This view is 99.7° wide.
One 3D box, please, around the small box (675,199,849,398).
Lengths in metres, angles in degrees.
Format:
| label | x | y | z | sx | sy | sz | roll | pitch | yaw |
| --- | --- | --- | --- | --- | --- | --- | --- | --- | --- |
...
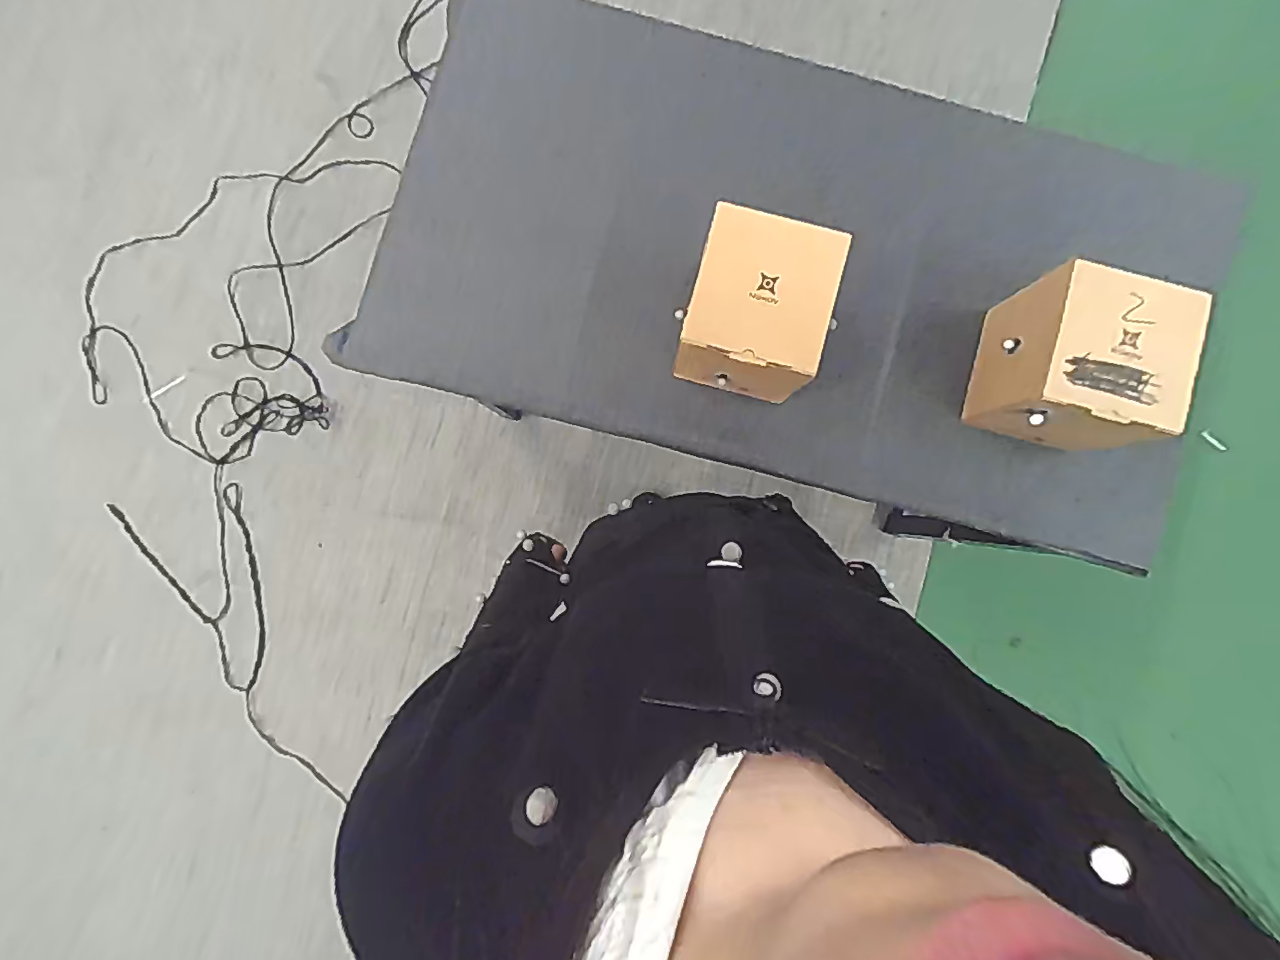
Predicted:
| label | x | y | z | sx | sy | sz | roll | pitch | yaw |
| --- | --- | --- | --- | --- | --- | --- | --- | --- | --- |
| small box | 0.146 | -0.224 | 0.711 | 0.168 | 0.176 | 0.179 | 15 | 88 | 0 |
